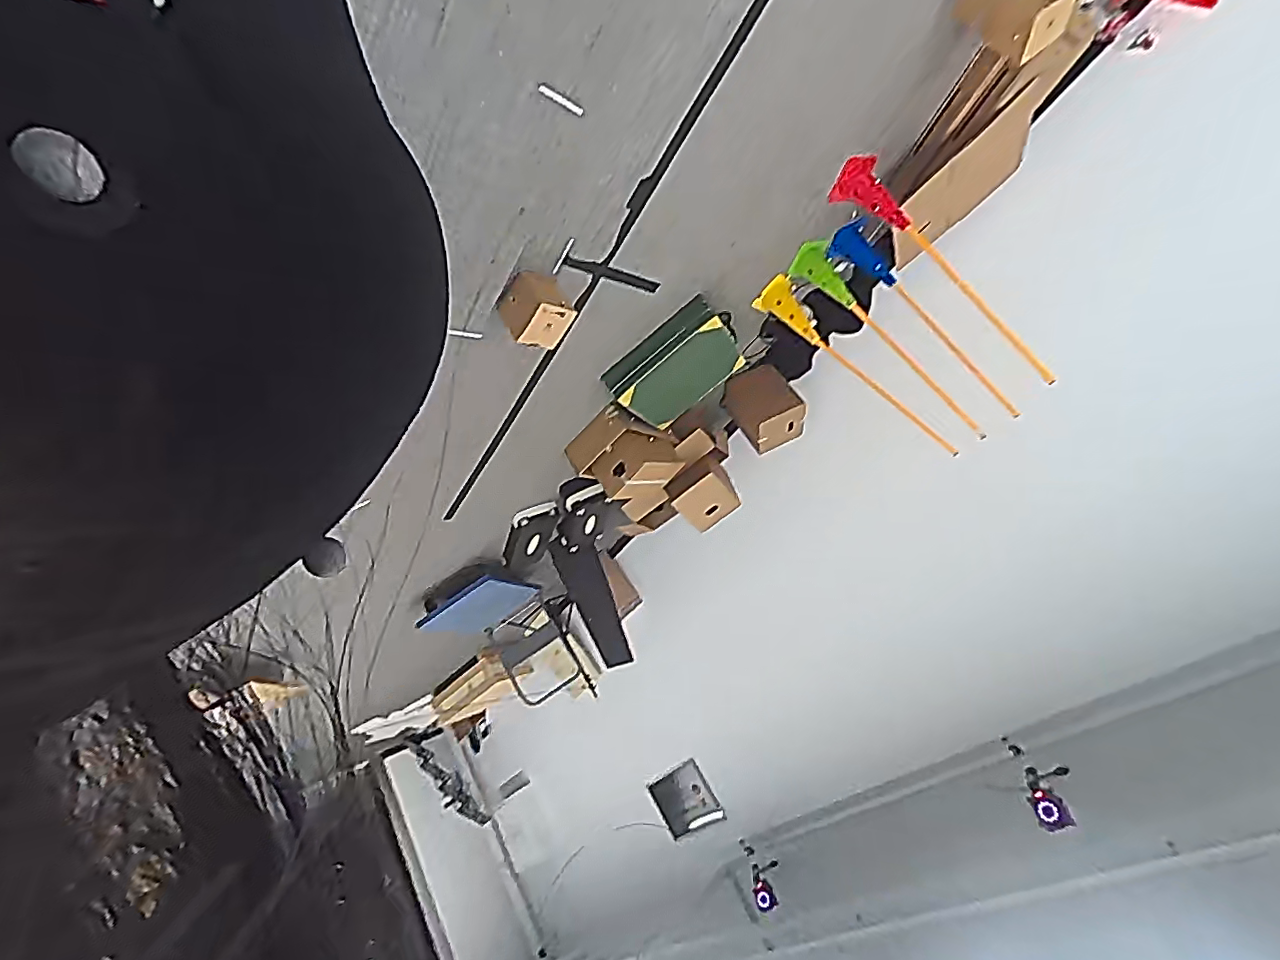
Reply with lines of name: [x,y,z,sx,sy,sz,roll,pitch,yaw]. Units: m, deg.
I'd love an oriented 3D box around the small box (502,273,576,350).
small box: [-0.362,-0.590,1.899,0.168,0.176,0.179,-5,146,-52]
